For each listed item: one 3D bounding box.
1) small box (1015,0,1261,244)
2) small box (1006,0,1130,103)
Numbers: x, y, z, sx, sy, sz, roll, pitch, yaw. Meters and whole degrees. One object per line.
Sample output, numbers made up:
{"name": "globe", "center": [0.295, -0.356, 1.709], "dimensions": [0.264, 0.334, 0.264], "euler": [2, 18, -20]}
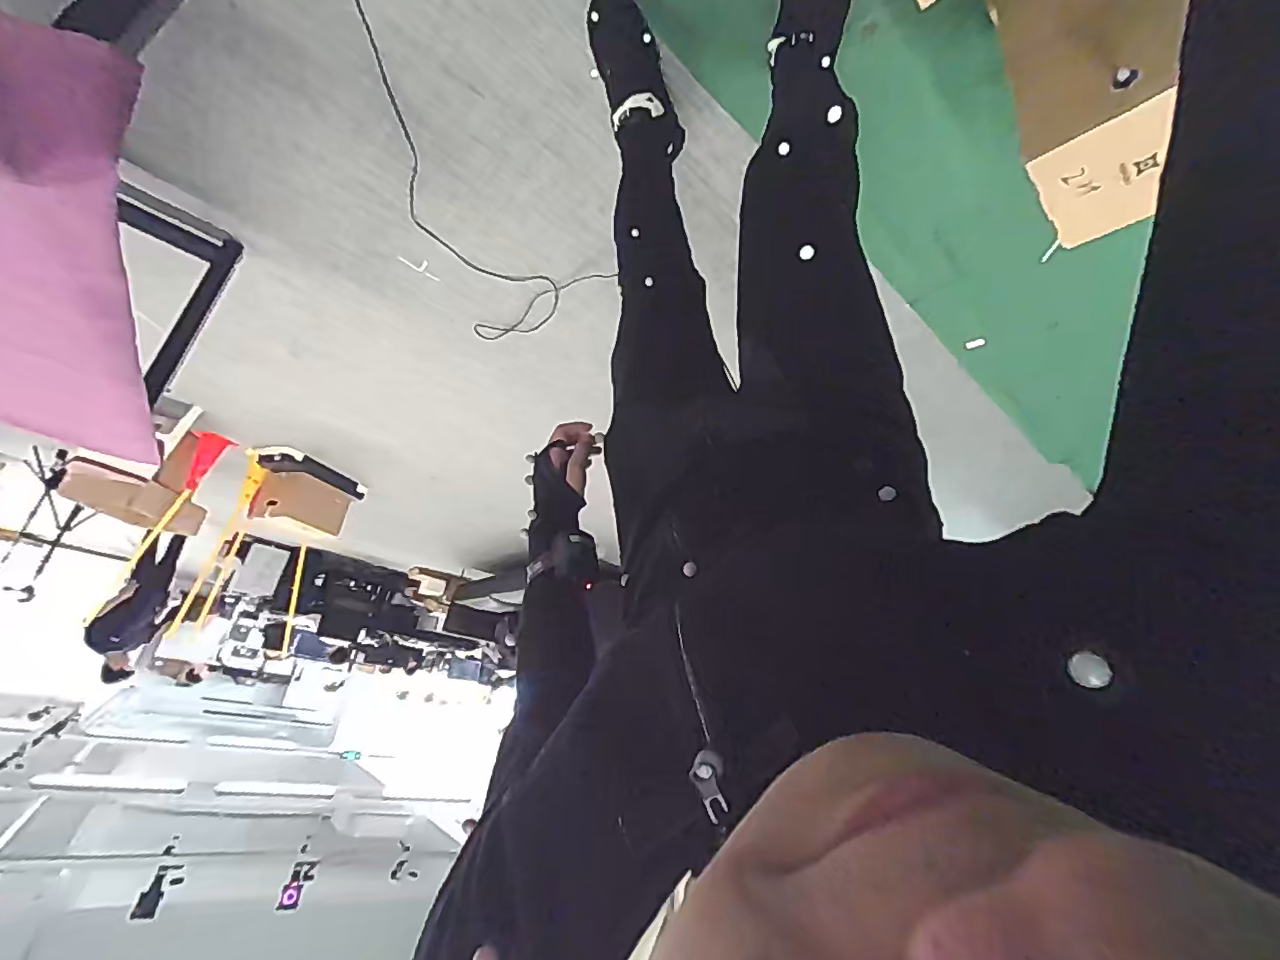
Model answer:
{"name": "small box", "center": [0.573, -0.429, 0.635], "dimensions": [0.168, 0.176, 0.179], "euler": [26, 153, -35]}
{"name": "small box", "center": [0.600, -0.579, 0.700], "dimensions": [0.168, 0.176, 0.179], "euler": [24, 155, -34]}
